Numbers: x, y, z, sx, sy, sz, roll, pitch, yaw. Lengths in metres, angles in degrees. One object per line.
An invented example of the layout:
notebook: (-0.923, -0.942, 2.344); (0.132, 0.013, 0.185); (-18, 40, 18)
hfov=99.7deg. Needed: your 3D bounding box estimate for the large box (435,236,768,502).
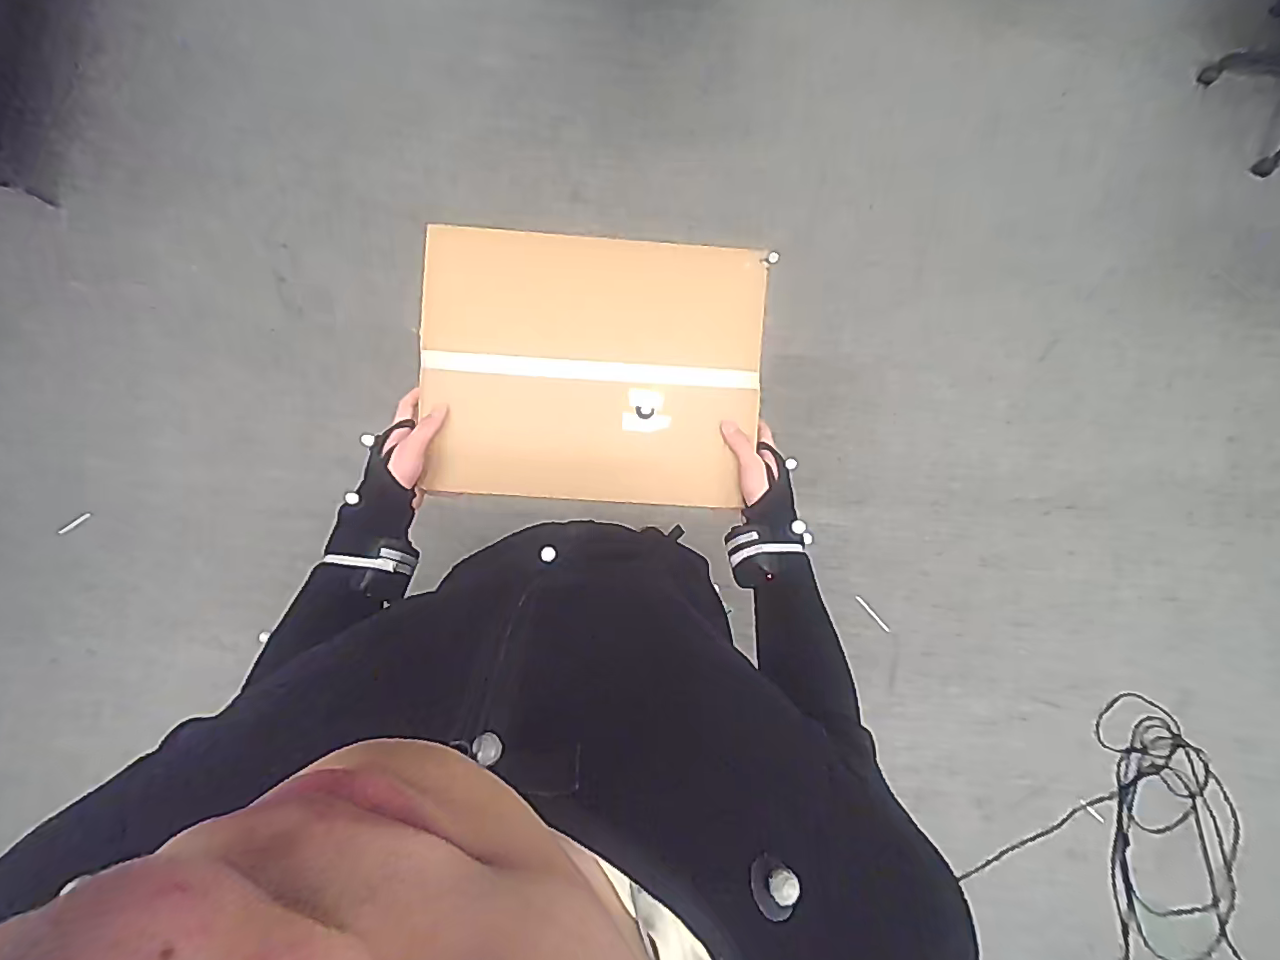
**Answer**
large box: (-0.055, -0.137, 0.805); (0.408, 0.320, 0.320); (3, 93, -3)
